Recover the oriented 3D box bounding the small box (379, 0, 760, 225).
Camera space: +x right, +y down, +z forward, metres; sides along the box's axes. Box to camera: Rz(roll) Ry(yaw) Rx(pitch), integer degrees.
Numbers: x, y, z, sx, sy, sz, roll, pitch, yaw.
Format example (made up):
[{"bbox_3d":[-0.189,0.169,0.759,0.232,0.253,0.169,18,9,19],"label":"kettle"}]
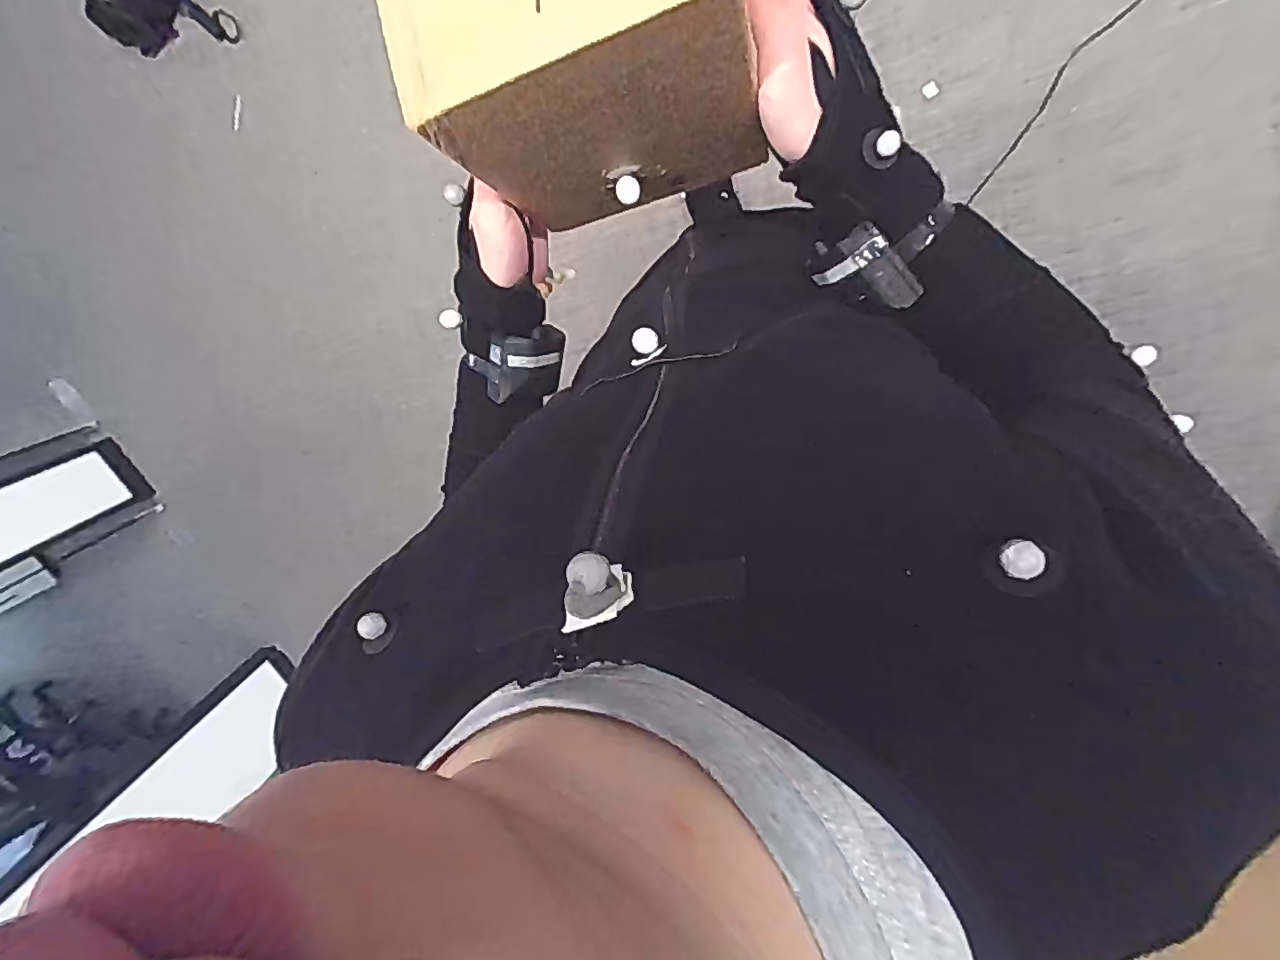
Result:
[{"bbox_3d":[-0.029,-0.279,0.310,0.168,0.176,0.179,-9,94,17],"label":"small box"}]
